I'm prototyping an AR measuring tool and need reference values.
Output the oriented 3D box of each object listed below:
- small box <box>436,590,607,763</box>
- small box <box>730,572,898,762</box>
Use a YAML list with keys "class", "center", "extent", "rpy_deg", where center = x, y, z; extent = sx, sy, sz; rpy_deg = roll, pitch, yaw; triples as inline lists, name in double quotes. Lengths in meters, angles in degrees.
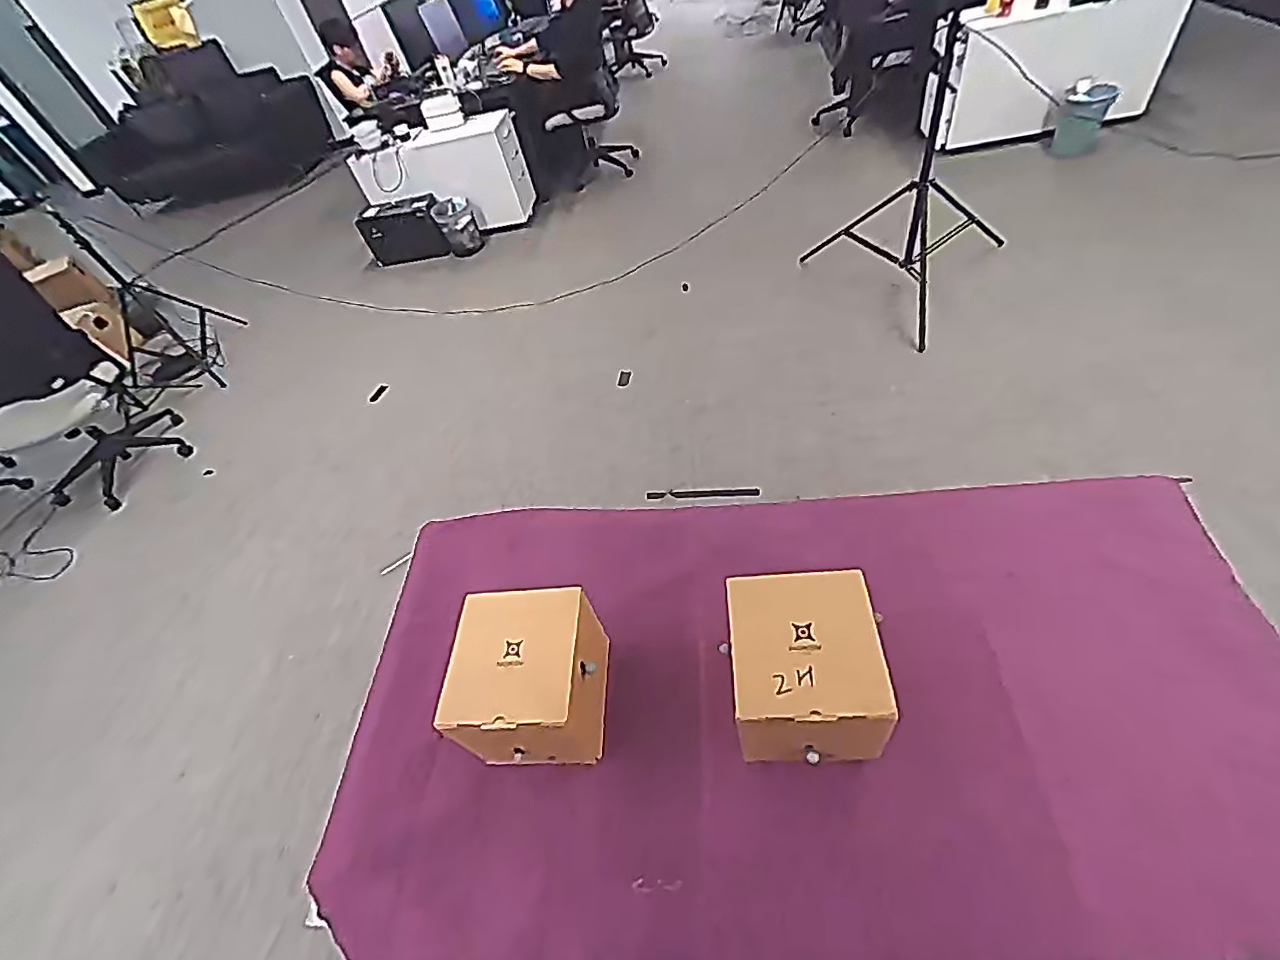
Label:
- class: "small box"
  center: [-0.145, 0.269, 0.736]
  extent: [0.168, 0.176, 0.179]
  rpy_deg: [-5, 50, 9]
- class: "small box"
  center: [0.202, 0.235, 0.675]
  extent: [0.168, 0.176, 0.179]
  rpy_deg: [-6, 49, 11]
